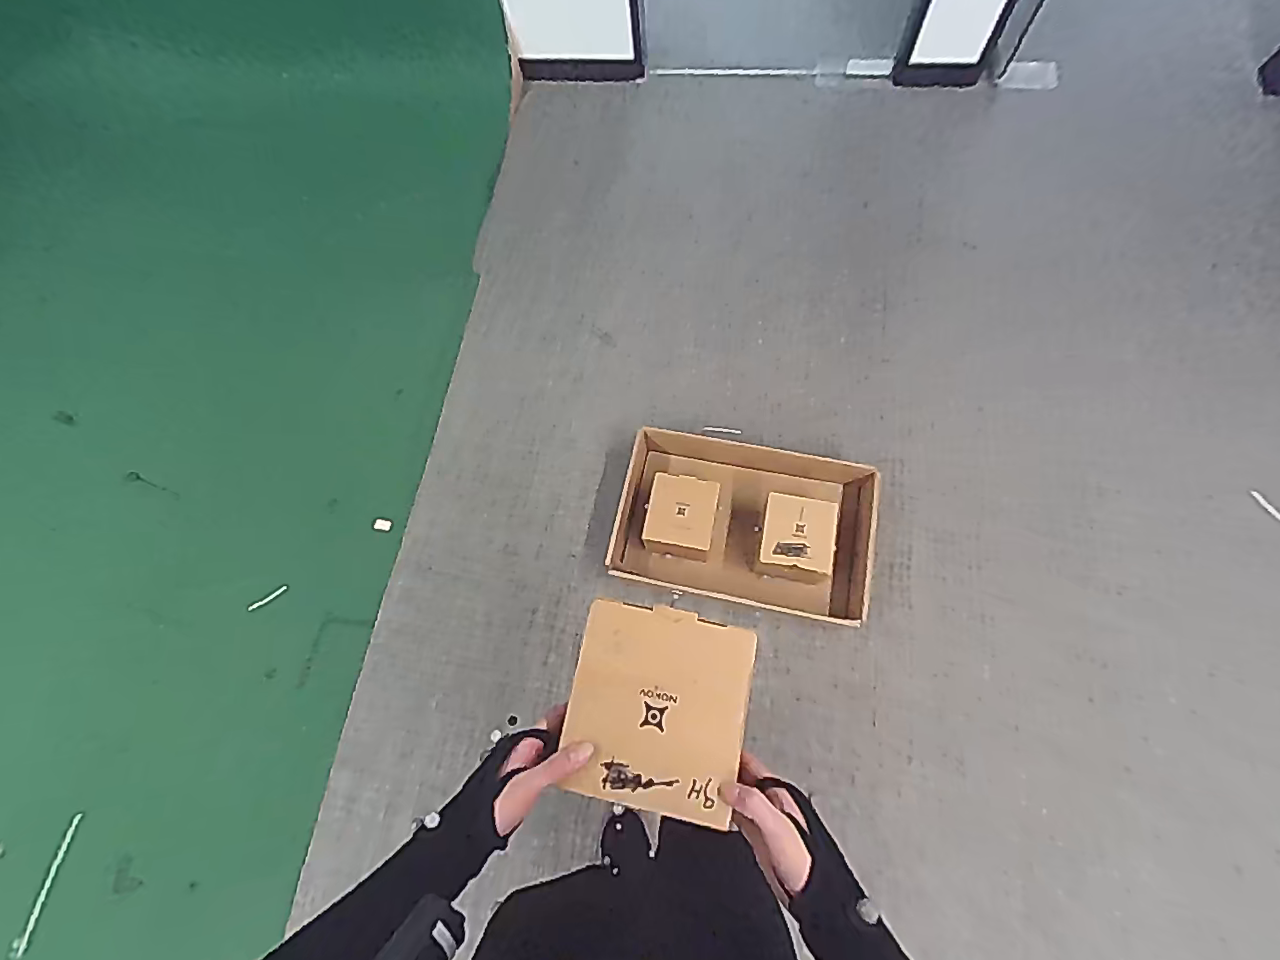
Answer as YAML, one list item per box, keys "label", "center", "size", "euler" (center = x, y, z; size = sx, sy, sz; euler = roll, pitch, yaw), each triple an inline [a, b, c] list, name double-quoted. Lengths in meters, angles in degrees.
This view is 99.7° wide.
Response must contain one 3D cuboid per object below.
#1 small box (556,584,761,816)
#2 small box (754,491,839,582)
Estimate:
- label: "small box"
  center: [0.022, 0.221, 0.581]
  size: [0.168, 0.176, 0.179]
  euler: [11, 75, 6]
- label: "small box"
  center: [0.380, 0.146, 1.335]
  size: [0.168, 0.176, 0.179]
  euler: [10, 71, 9]
